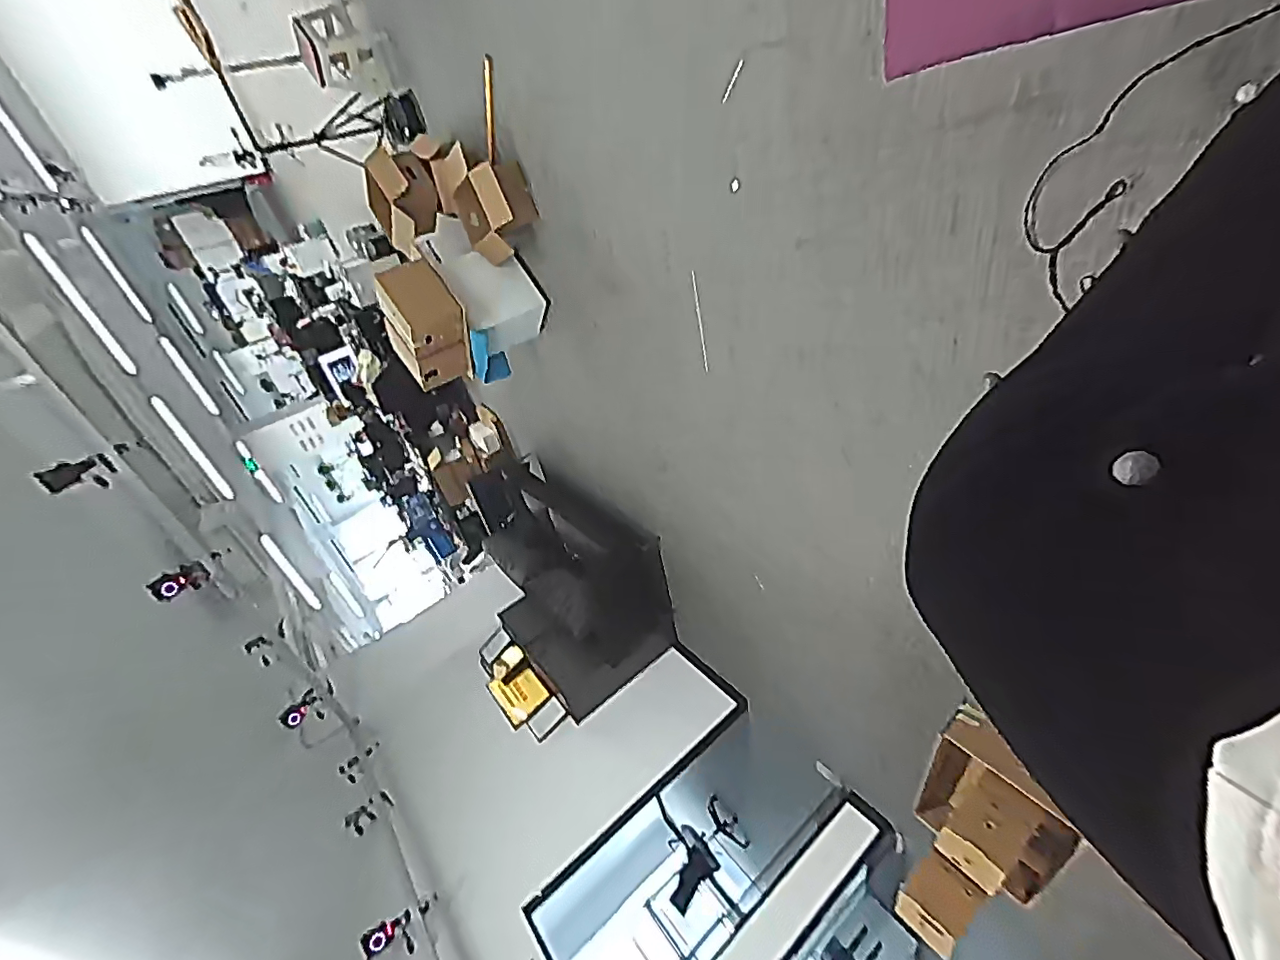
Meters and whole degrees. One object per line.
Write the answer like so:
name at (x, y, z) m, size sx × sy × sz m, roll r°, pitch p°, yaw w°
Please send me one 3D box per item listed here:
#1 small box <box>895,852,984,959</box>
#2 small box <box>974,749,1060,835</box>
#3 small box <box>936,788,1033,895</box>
small box at (0.904, 1.278, 1.632) m, size 0.168 × 0.176 × 0.179 m, roll 31°, pitch 142°, yaw 46°
small box at (1.124, 0.960, 1.631) m, size 0.168 × 0.176 × 0.179 m, roll 34°, pitch 147°, yaw 42°
small box at (0.997, 1.038, 1.564) m, size 0.168 × 0.176 × 0.179 m, roll 35°, pitch 146°, yaw 43°
